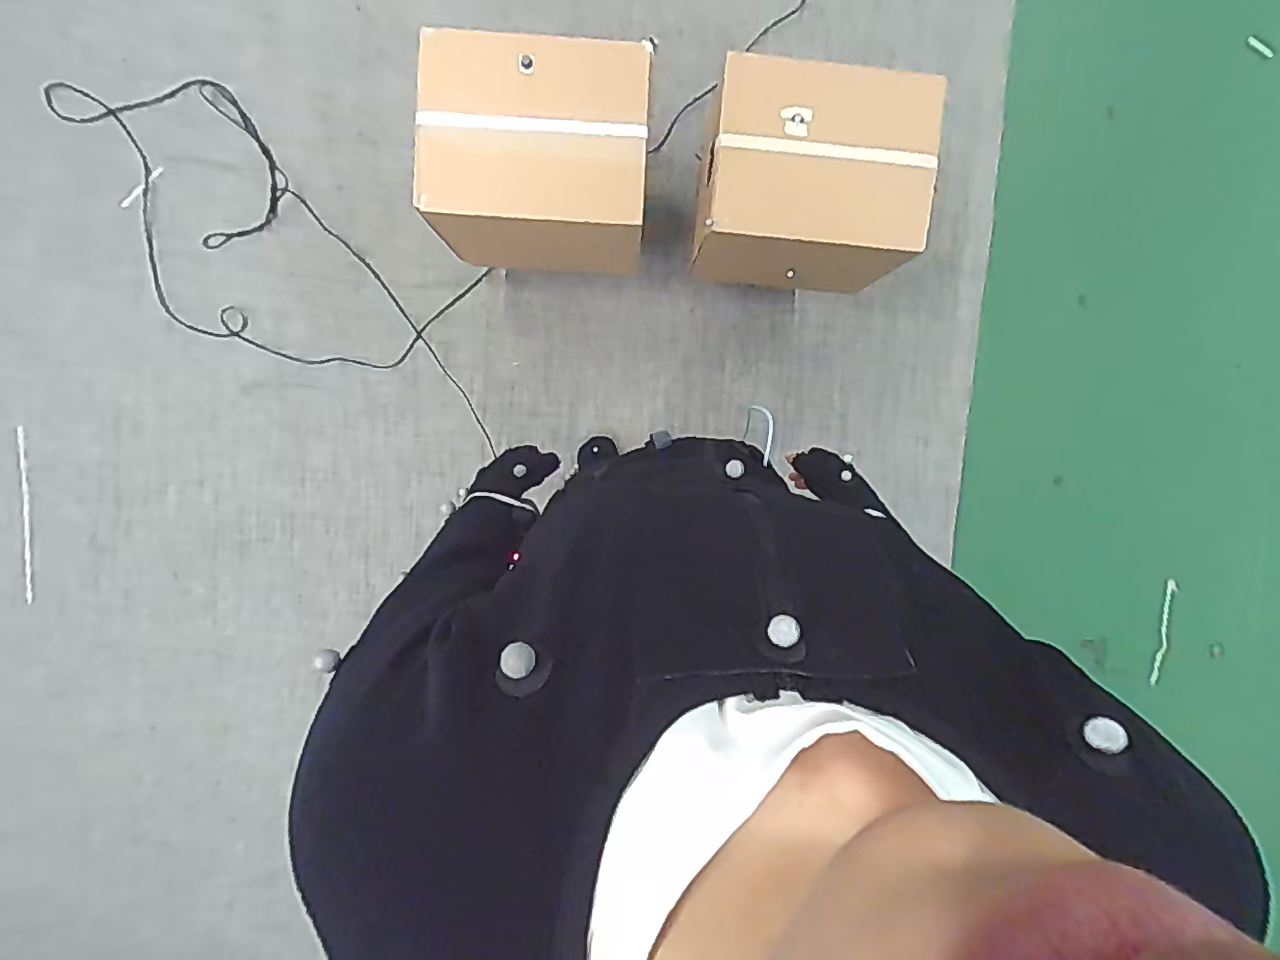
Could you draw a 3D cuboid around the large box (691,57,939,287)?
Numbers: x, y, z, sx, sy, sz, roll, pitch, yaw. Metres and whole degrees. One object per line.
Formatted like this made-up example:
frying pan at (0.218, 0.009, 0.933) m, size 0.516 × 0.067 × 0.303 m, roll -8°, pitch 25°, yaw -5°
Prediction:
large box at (0.336, -0.612, 1.141) m, size 0.408 × 0.320 × 0.320 m, roll 5°, pitch 95°, yaw -2°
